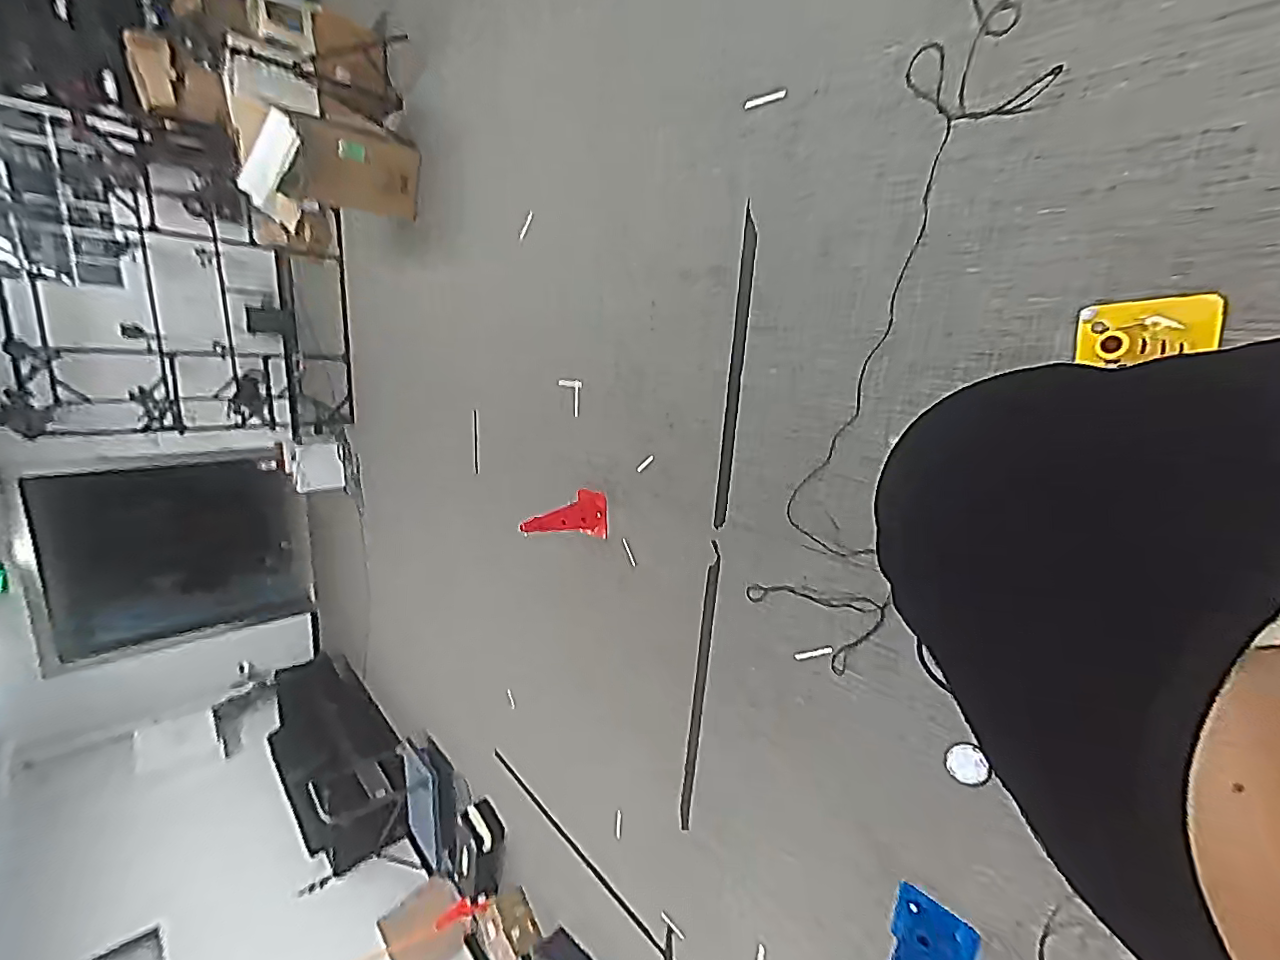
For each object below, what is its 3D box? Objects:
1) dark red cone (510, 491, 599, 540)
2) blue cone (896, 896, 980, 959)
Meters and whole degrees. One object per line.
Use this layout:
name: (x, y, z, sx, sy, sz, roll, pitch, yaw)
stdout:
dark red cone: (-0.362, 0.170, 2.258, 0.201, 0.394, 0.202, 8, 102, 46)
blue cone: (0.669, 1.257, 1.333, 0.192, 0.380, 0.193, 19, 111, 44)
